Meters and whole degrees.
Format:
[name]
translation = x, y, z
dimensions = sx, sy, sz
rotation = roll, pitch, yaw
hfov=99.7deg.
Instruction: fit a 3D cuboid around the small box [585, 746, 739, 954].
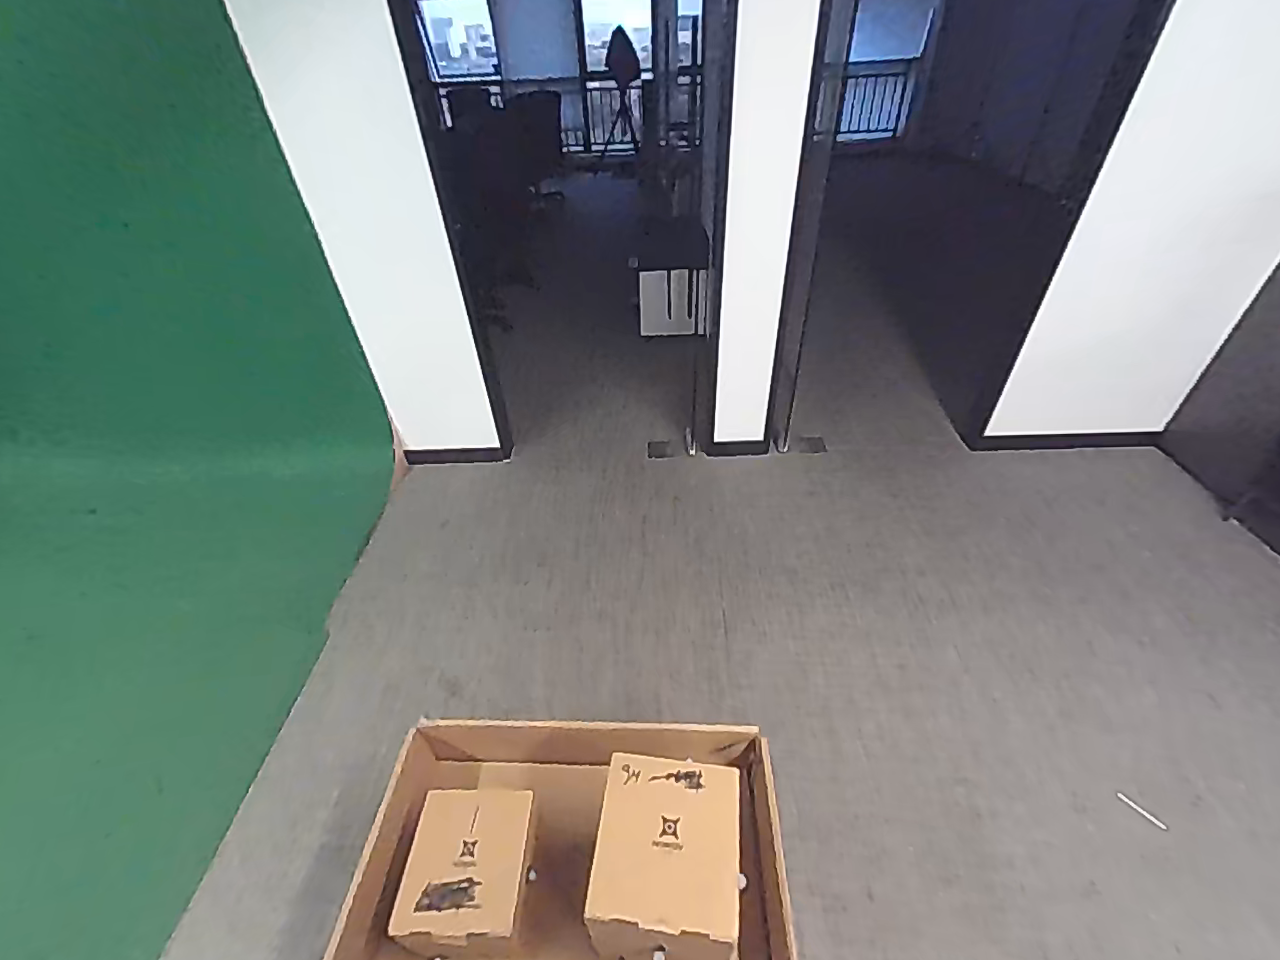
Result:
[small box]
translation = 0.037, 0.470, 0.688
dimensions = 0.168, 0.176, 0.179
rotation = 3, 42, 8
